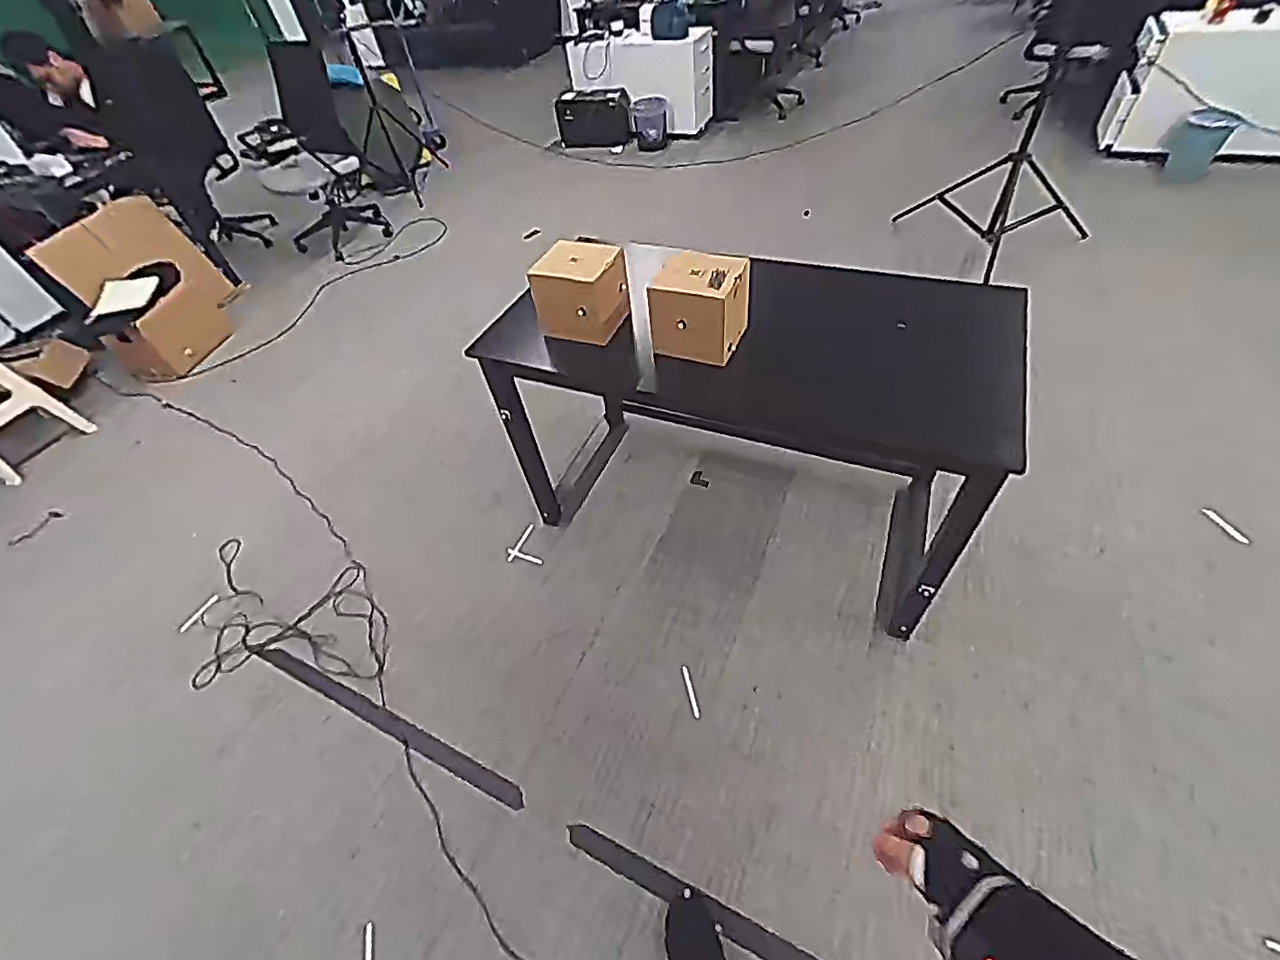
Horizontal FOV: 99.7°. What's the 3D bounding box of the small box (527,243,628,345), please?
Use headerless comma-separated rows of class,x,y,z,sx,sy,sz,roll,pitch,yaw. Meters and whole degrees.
small box,-0.140,-0.444,1.301,0.179,0.176,0.168,13,51,19

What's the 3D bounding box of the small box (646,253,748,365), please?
small box,0.132,-0.379,1.205,0.179,0.176,0.168,15,53,21
